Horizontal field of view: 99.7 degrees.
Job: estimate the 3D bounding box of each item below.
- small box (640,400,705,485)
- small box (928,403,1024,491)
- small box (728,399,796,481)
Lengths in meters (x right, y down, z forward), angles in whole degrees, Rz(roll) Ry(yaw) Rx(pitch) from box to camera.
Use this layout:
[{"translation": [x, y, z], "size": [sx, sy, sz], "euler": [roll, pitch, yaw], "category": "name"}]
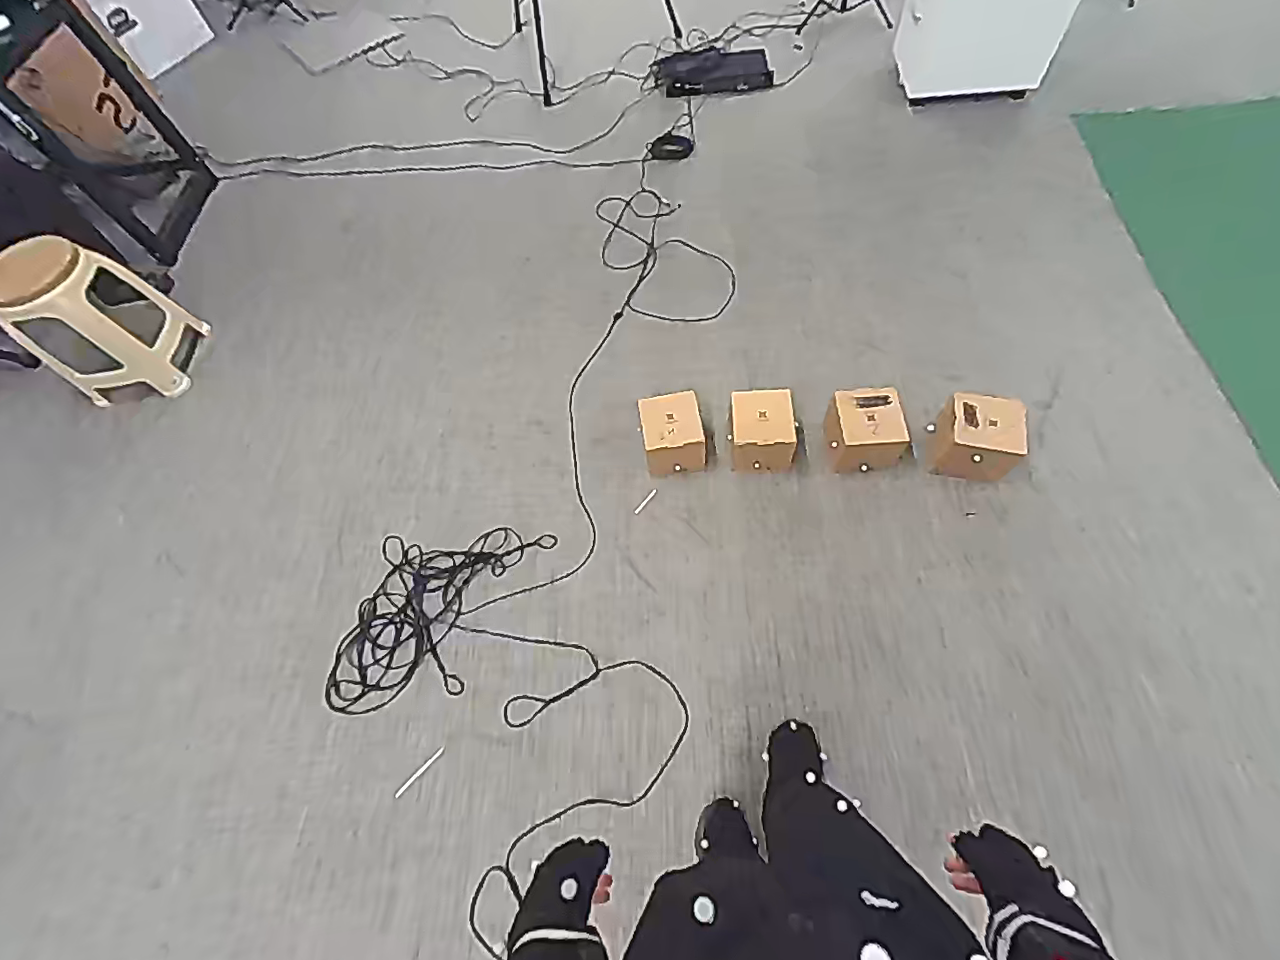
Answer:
[{"translation": [0.095, -0.107, 1.582], "size": [0.168, 0.176, 0.179], "euler": [-9, 61, 2], "category": "small box"}, {"translation": [0.910, -0.085, 1.479], "size": [0.179, 0.176, 0.168], "euler": [12, 64, 11], "category": "small box"}, {"translation": [0.345, -0.112, 1.559], "size": [0.168, 0.176, 0.179], "euler": [-2, 62, 6], "category": "small box"}]
